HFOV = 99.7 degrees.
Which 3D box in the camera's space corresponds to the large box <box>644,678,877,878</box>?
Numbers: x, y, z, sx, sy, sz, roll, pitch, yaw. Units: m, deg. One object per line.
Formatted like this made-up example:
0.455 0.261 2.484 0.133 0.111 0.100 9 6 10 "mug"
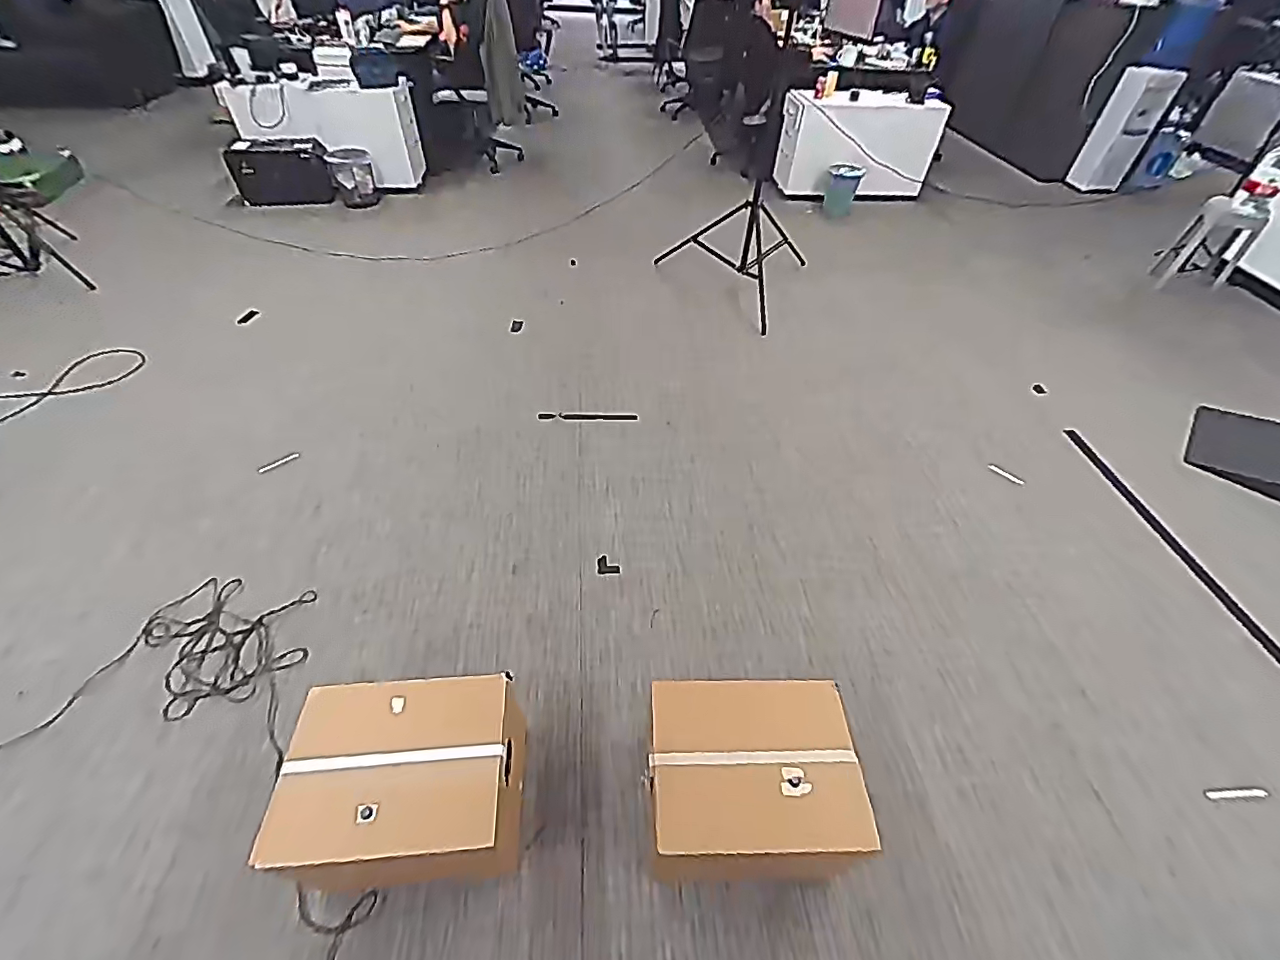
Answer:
0.223 0.648 1.178 0.408 0.320 0.320 1 47 -3 "large box"
